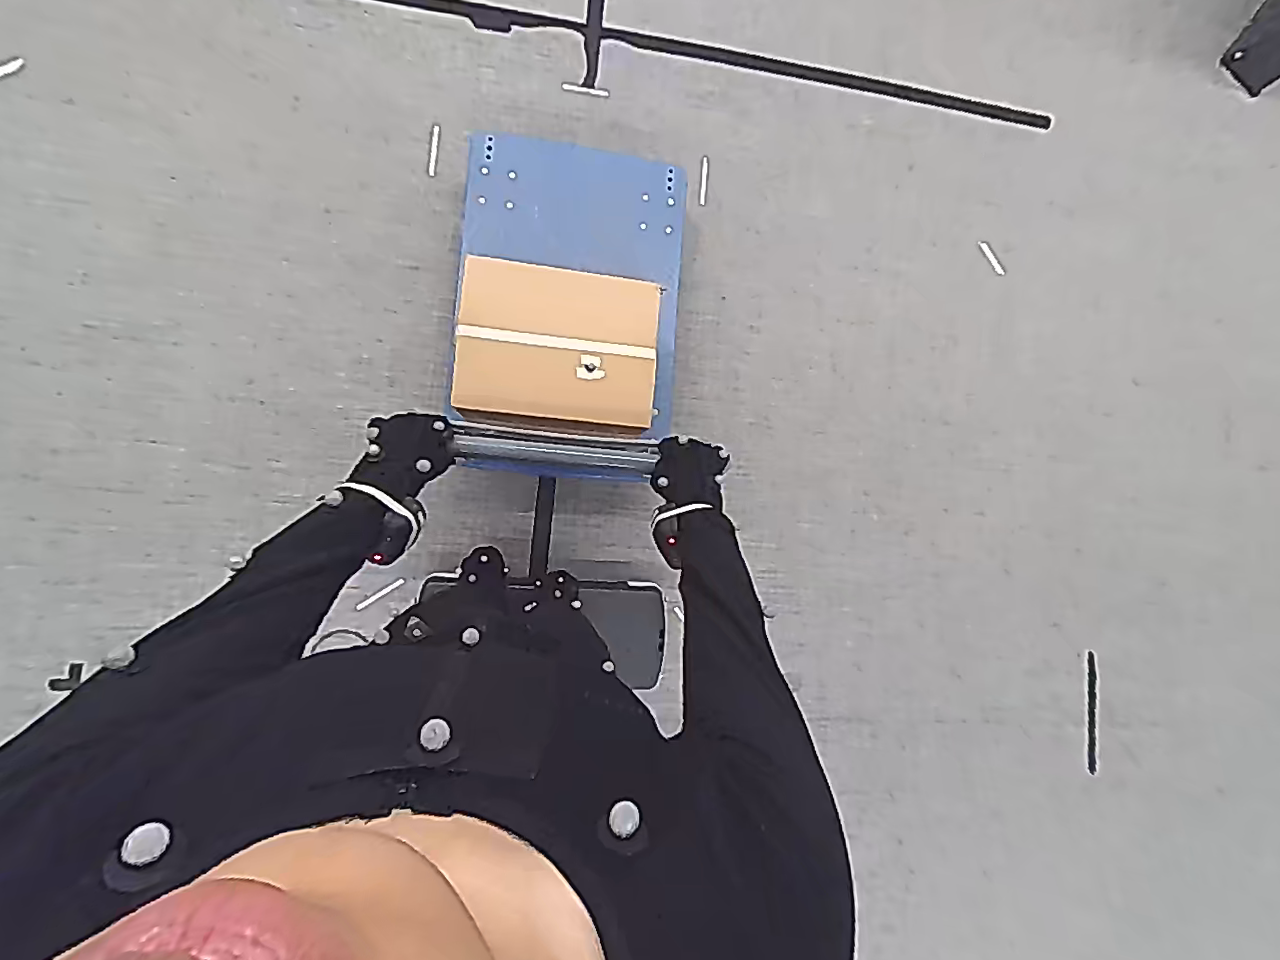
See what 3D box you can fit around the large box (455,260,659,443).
[{"bbox_3d":[-0.190,-0.269,1.251,0.408,0.320,0.320,5,87,-10],"label":"large box"}]
